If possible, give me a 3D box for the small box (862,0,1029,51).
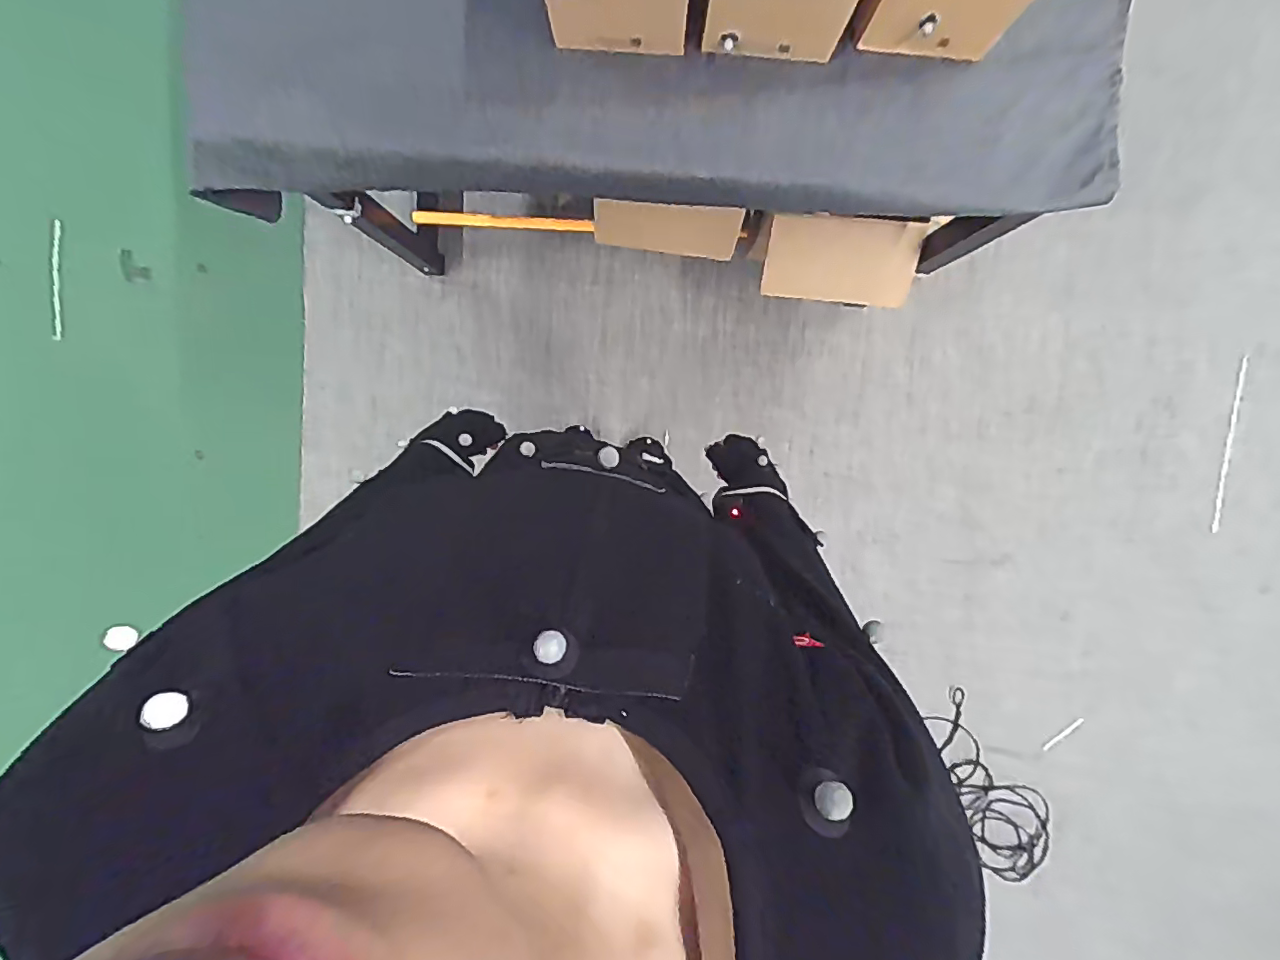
[{"bbox_3d":[0.365,-0.629,0.596,0.168,0.176,0.179,5,97,-1],"label":"small box"}]
